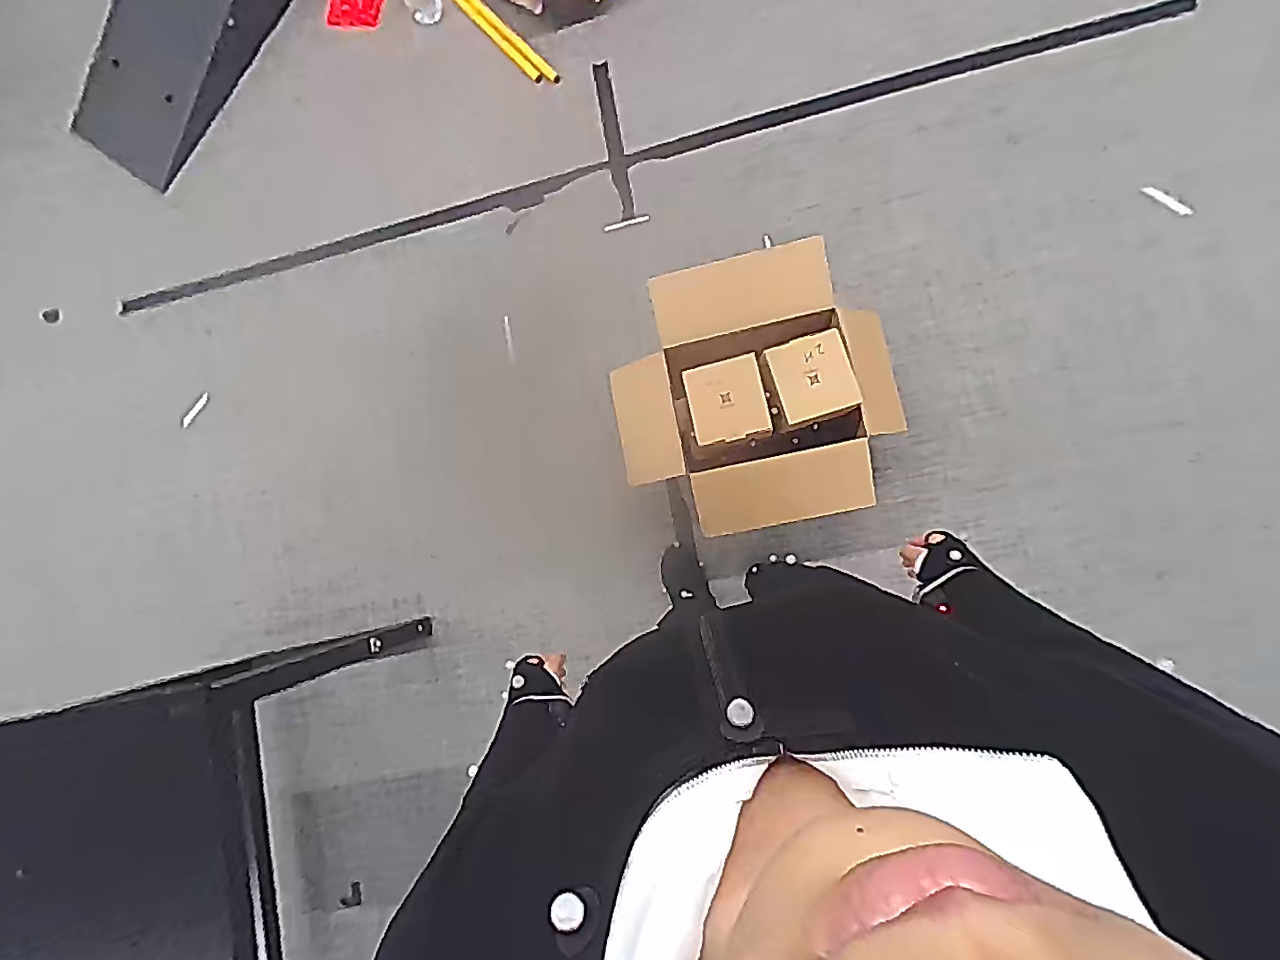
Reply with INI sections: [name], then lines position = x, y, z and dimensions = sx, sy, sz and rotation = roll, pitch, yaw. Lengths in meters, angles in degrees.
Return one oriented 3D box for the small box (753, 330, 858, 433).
[small box]
position = 0.370, -0.213, 1.237
dimensions = 0.168, 0.176, 0.179
rotation = -17, 84, 2
